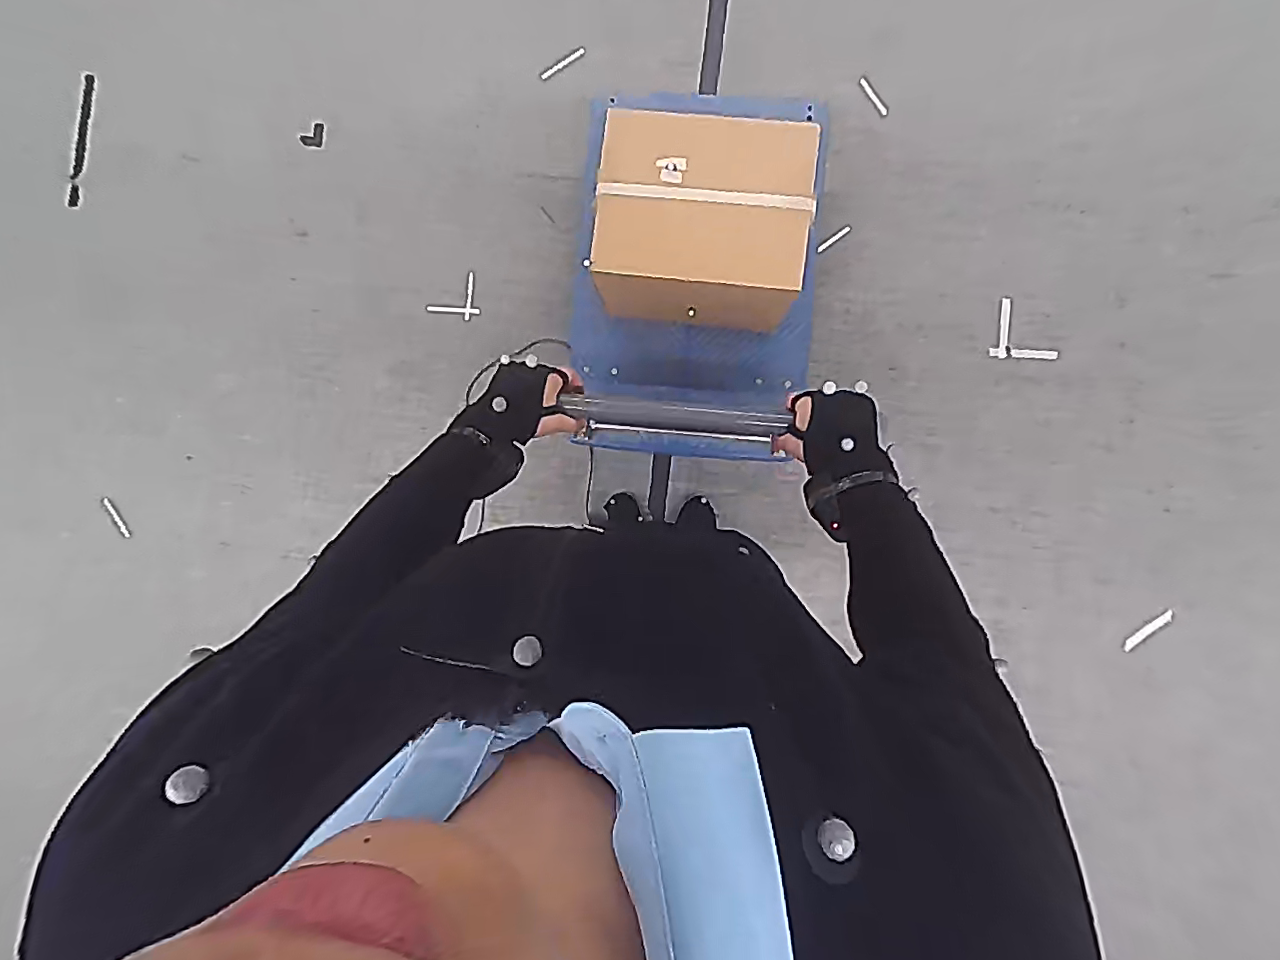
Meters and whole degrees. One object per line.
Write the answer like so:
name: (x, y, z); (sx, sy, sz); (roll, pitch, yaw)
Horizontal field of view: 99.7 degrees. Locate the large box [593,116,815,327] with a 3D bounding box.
large box: (0.133, -0.536, 1.180); (0.408, 0.320, 0.320); (7, 90, 5)
